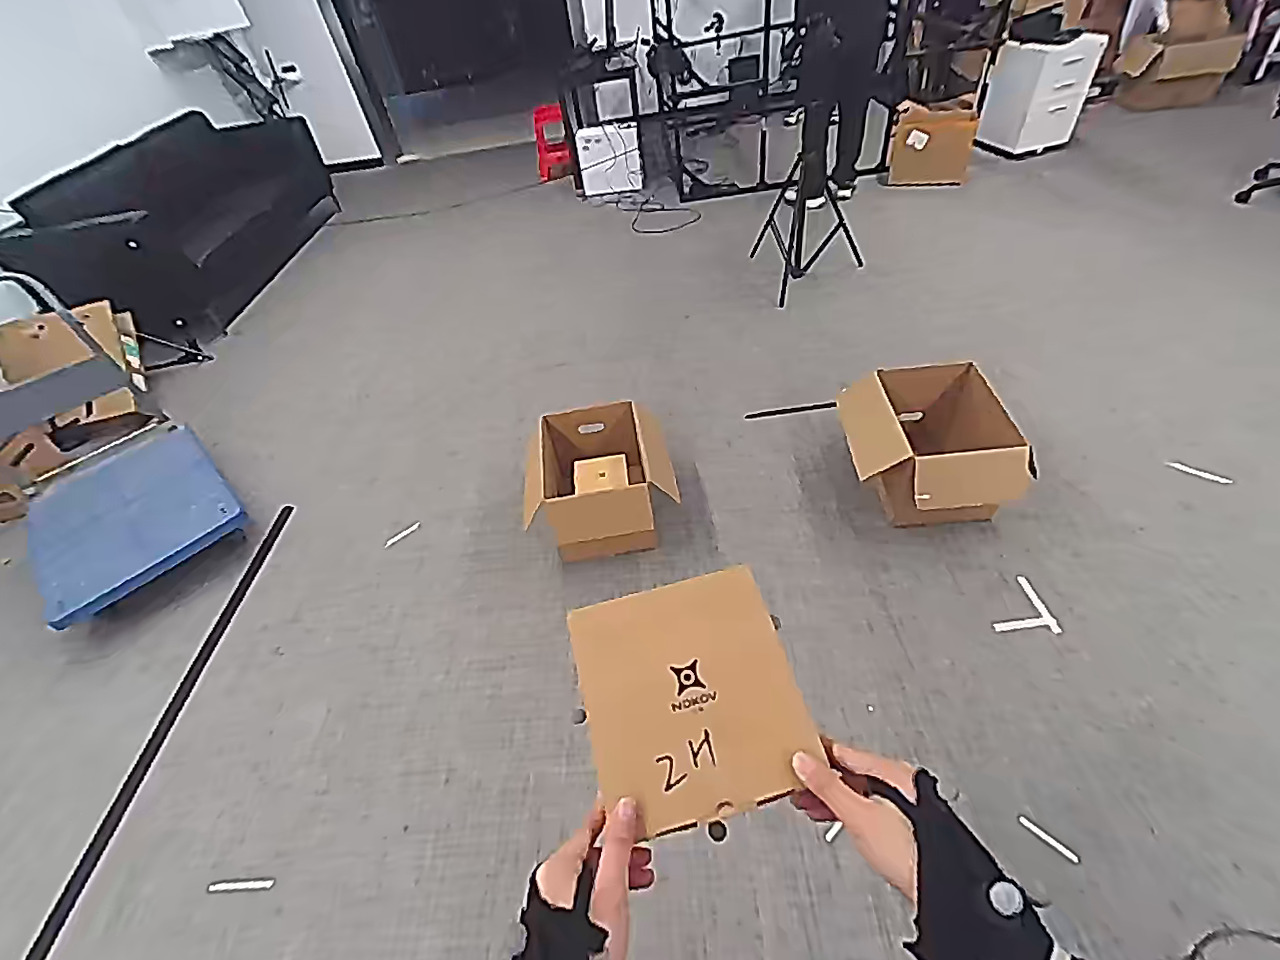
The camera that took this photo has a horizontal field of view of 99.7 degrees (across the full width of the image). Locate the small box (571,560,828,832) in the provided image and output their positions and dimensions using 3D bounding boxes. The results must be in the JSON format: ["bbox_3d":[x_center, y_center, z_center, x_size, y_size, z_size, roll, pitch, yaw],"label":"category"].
[{"bbox_3d":[0.040,0.201,0.493,0.168,0.176,0.179,-14,58,-6],"label":"small box"}]
